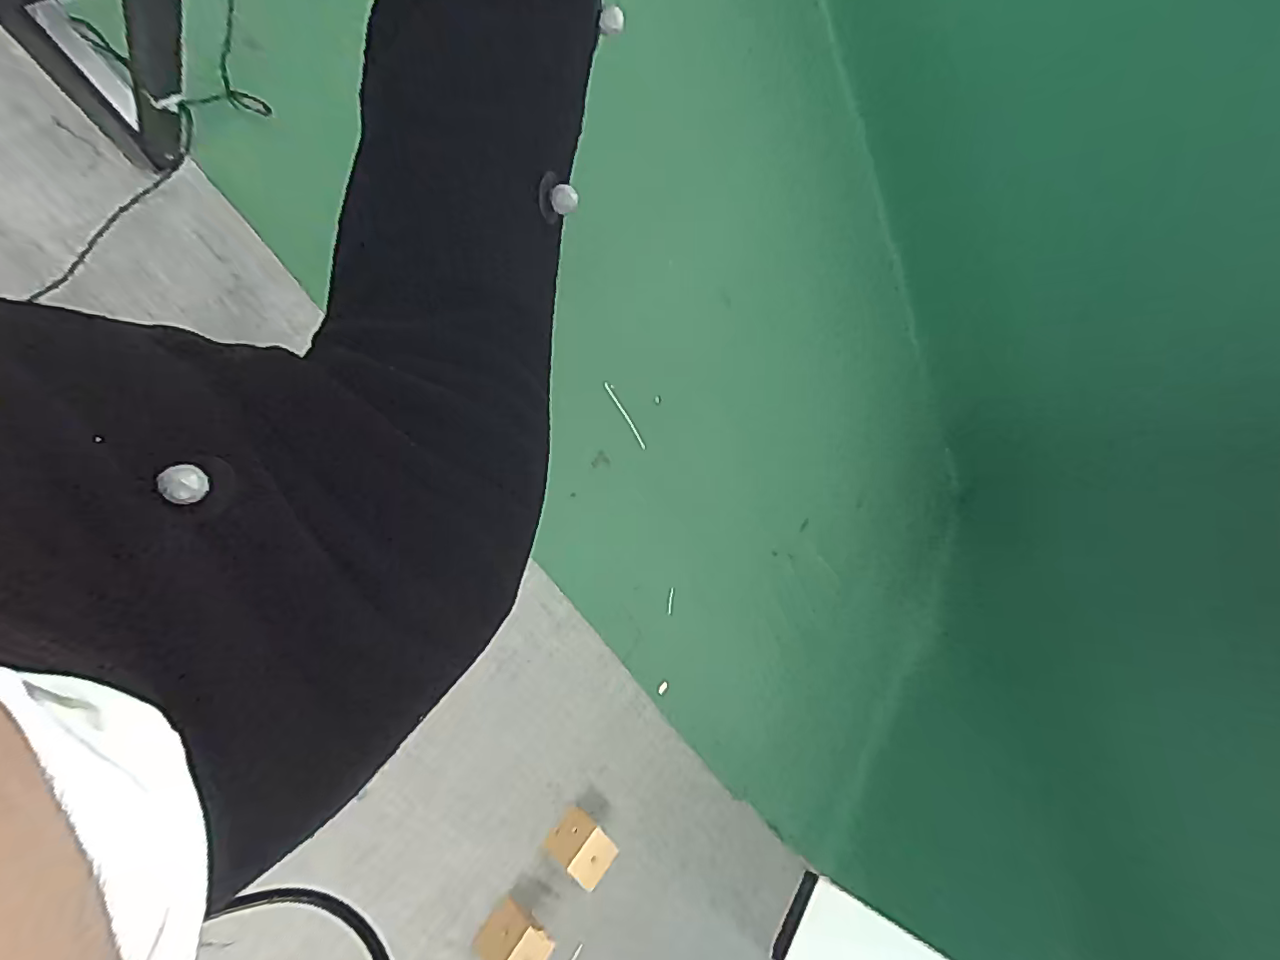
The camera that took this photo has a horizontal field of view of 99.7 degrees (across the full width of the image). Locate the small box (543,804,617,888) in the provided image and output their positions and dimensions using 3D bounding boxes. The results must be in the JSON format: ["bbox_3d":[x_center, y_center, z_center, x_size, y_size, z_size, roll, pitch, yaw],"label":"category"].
[{"bbox_3d":[-0.224,1.330,1.982,0.168,0.176,0.179,-45,120,-29],"label":"small box"}]

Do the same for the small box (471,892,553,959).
[{"bbox_3d":[-0.433,1.545,1.816,0.179,0.176,0.168,-48,121,-28],"label":"small box"}]
